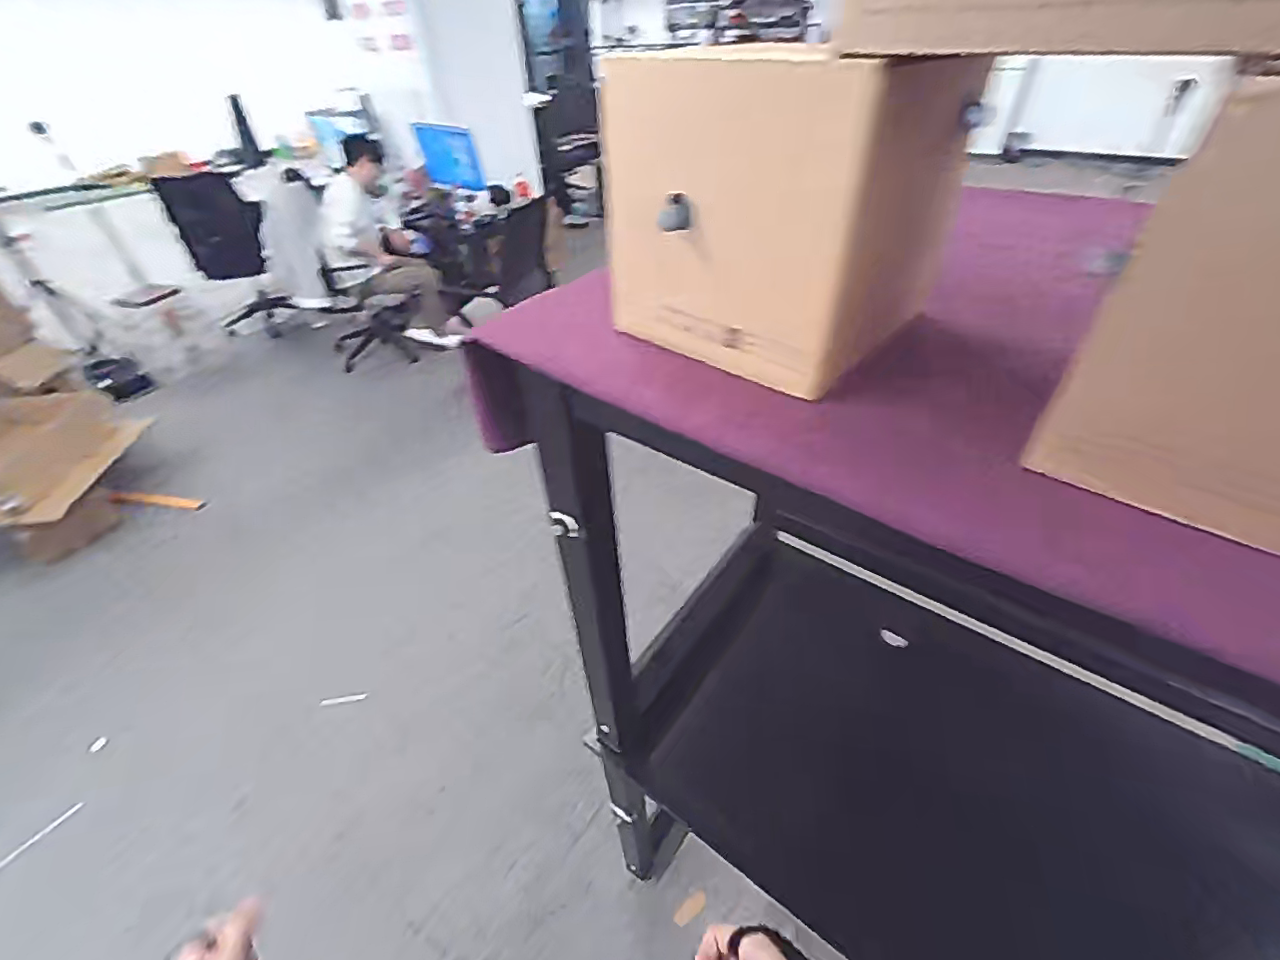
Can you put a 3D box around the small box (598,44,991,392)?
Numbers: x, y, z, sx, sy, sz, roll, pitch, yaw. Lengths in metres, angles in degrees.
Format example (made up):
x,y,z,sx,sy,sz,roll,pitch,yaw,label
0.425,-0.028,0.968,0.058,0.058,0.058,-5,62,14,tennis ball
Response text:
x,y,z,sx,sy,sz,roll,pitch,yaw,label
0.095,-0.180,0.361,0.168,0.176,0.179,29,48,32,small box
